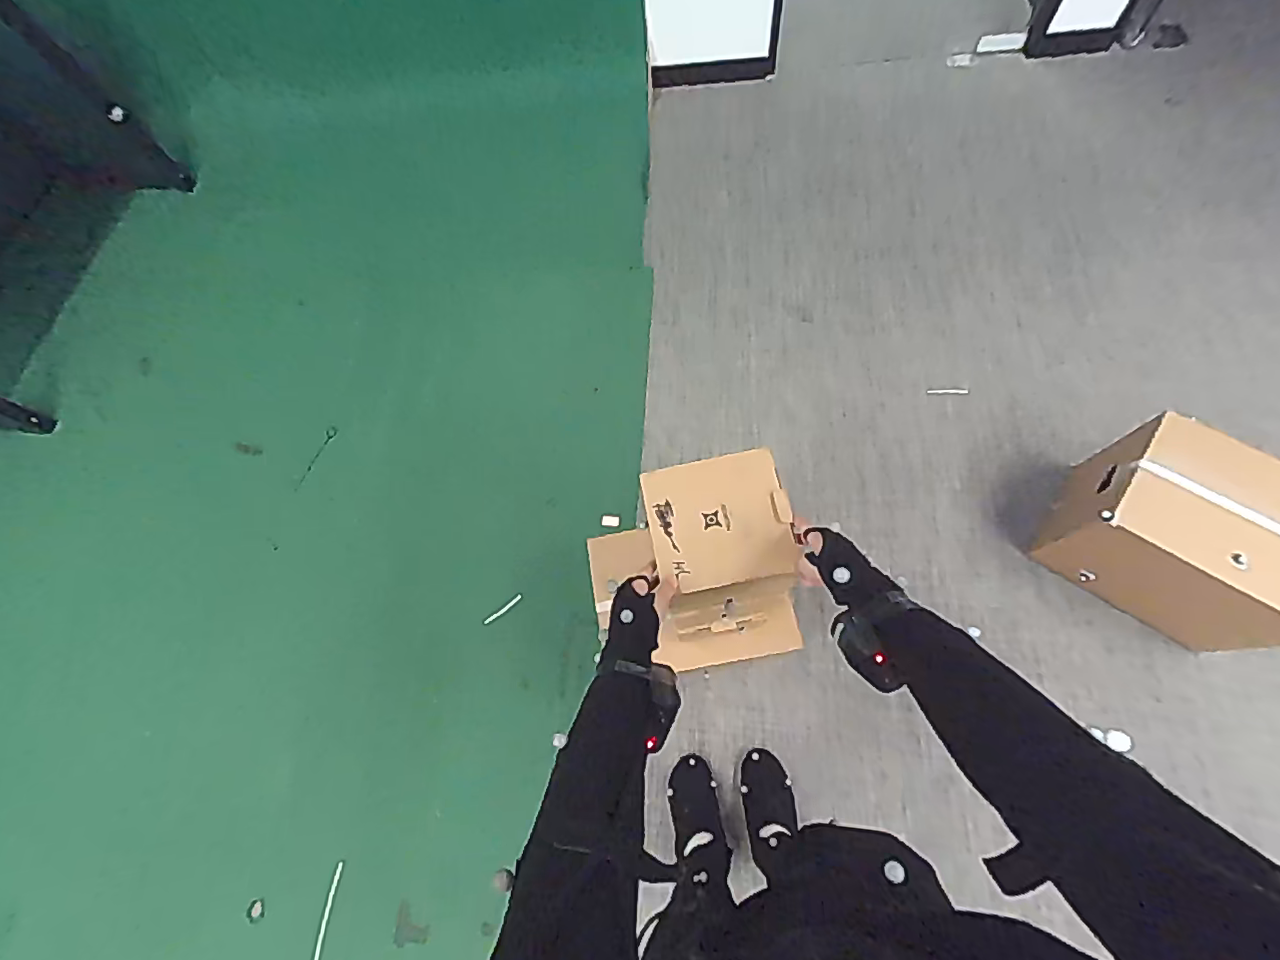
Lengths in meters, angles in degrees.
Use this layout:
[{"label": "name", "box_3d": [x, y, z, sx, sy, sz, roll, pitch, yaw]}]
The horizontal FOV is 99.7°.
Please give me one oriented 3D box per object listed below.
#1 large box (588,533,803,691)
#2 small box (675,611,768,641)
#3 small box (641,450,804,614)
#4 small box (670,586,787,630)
[{"label": "large box", "box_3d": [0.125, 0.297, 1.271, 0.408, 0.320, 0.320, -12, 65, 3]}, {"label": "small box", "box_3d": [0.140, 0.208, 1.041, 0.168, 0.176, 0.179, -11, 67, 2]}, {"label": "small box", "box_3d": [0.104, 0.079, 0.743, 0.179, 0.176, 0.168, -11, 67, 1]}, {"label": "small box", "box_3d": [0.125, 0.142, 0.893, 0.179, 0.176, 0.168, -12, 67, 2]}]
